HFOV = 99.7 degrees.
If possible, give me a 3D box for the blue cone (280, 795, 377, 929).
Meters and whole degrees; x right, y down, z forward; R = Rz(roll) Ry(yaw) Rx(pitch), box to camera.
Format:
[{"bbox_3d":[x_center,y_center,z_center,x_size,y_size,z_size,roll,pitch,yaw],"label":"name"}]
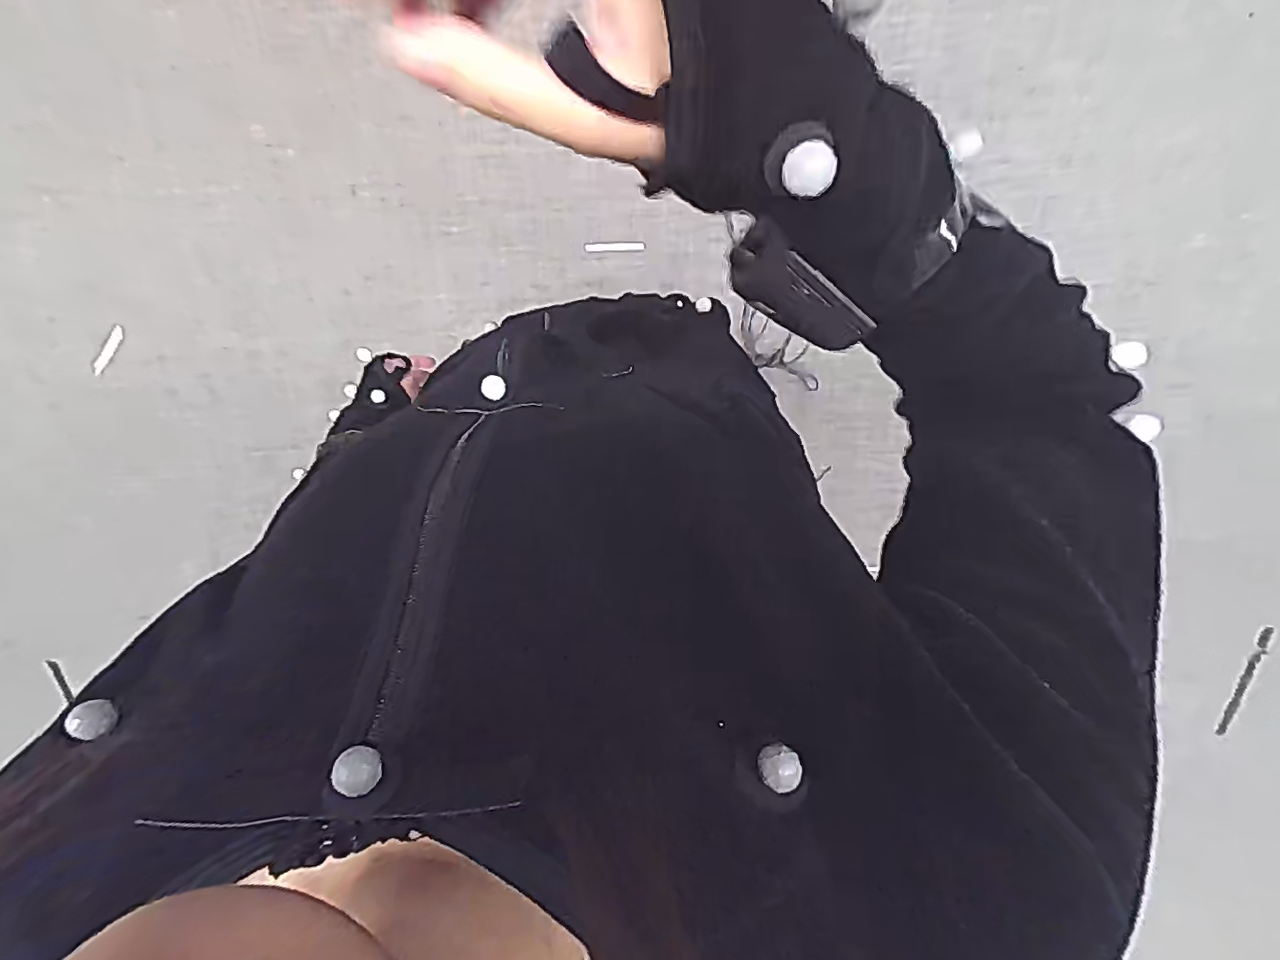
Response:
[{"bbox_3d":[-1.031,1.246,1.755,0.193,0.380,0.192,2,109,0],"label":"blue cone"}]
